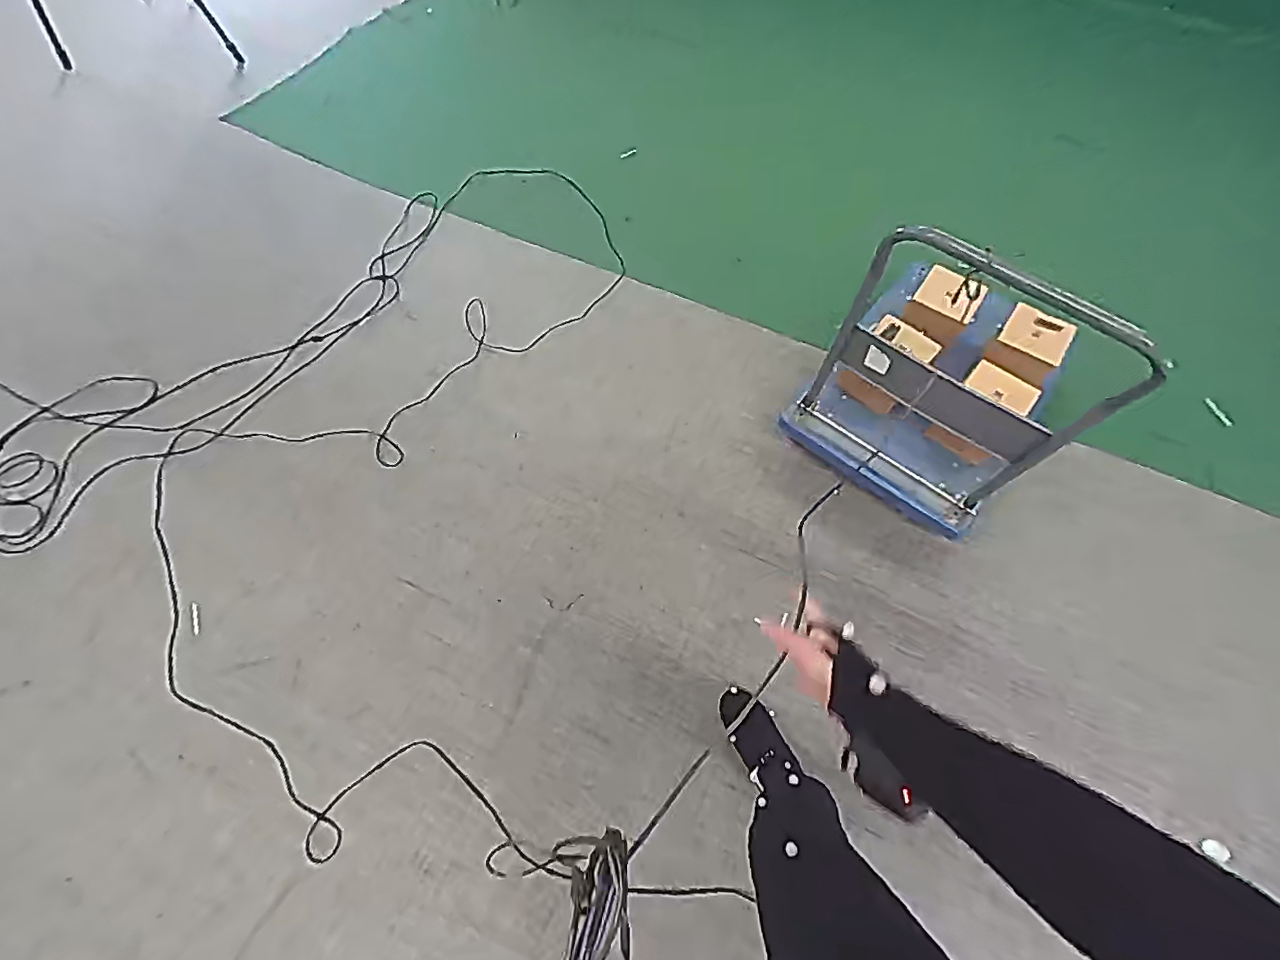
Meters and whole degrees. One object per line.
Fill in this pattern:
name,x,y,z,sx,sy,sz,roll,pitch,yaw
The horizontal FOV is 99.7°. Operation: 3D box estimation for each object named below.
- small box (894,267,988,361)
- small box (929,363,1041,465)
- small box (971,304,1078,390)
small box,0.894,-0.493,1.624,0.168,0.176,0.179,34,68,15
small box,0.923,-0.175,1.464,0.168,0.176,0.179,38,69,17
small box,1.097,-0.361,1.557,0.168,0.176,0.179,33,68,16
